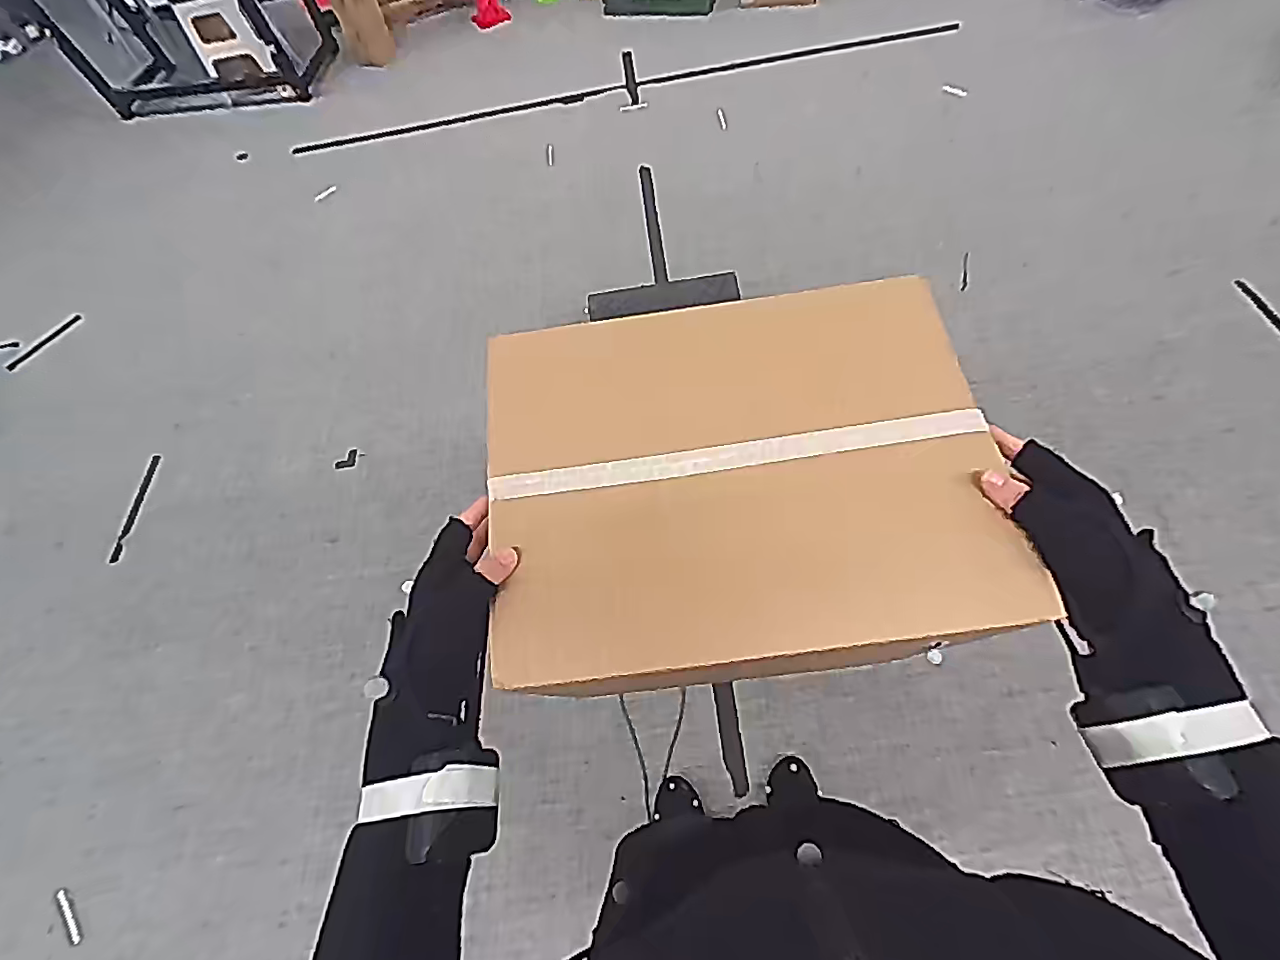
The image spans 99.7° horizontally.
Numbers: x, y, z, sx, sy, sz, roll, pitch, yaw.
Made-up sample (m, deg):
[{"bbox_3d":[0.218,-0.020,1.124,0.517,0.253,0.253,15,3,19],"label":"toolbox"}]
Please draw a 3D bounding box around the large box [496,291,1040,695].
[{"bbox_3d":[0.090,0.045,0.588,0.408,0.320,0.320,-8,66,1],"label":"large box"}]
